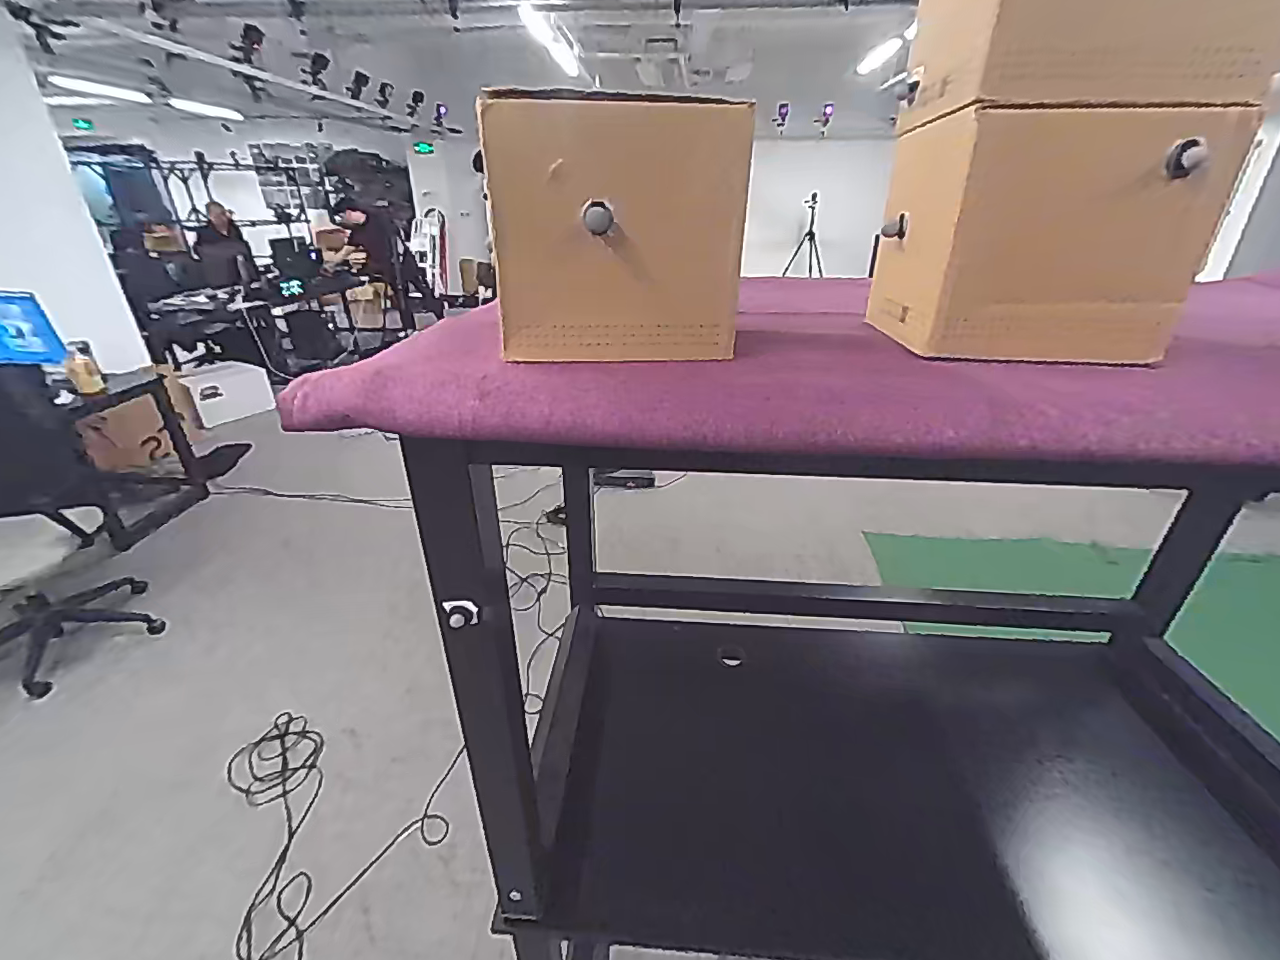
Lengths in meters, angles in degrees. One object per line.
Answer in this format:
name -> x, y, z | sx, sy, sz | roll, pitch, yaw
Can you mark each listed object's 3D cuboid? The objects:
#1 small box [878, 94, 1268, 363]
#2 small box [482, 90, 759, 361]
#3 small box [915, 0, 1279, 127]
small box -> 0.312, -0.197, 0.445 | 0.179, 0.176, 0.168 | 3, 26, 5
small box -> -0.015, -0.198, 0.438 | 0.179, 0.176, 0.168 | -2, 29, -4
small box -> 0.315, -0.347, 0.377 | 0.179, 0.176, 0.168 | 4, 27, 4
